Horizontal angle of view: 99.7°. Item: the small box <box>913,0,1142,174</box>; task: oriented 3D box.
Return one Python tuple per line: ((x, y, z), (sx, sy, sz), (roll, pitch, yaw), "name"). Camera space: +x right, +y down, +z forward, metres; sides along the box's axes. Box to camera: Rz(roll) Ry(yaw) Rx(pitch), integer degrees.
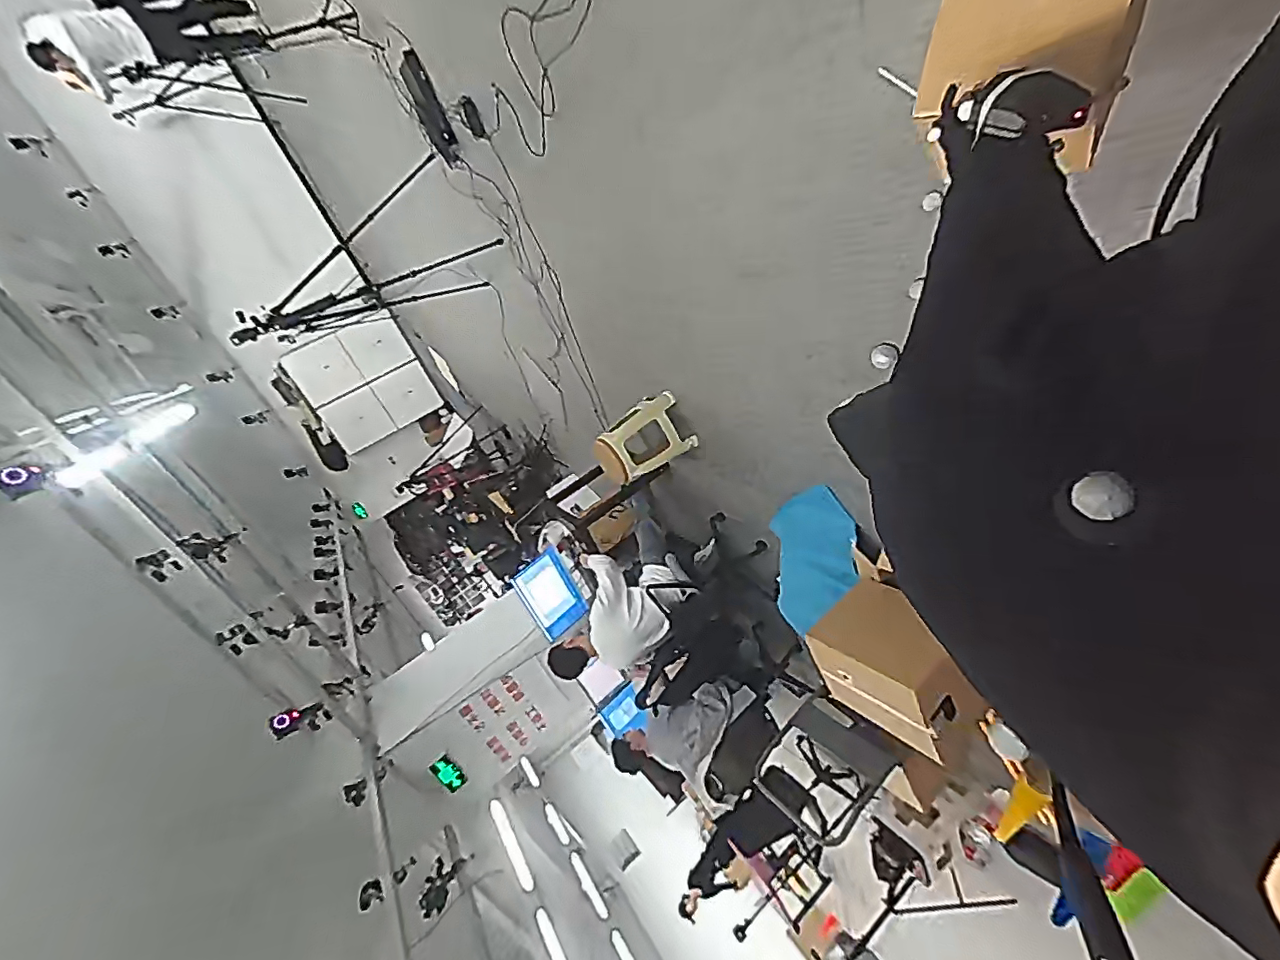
((0.425, -0.459, 0.594), (0.168, 0.179, 0.176), (19, 106, 34), "small box")
